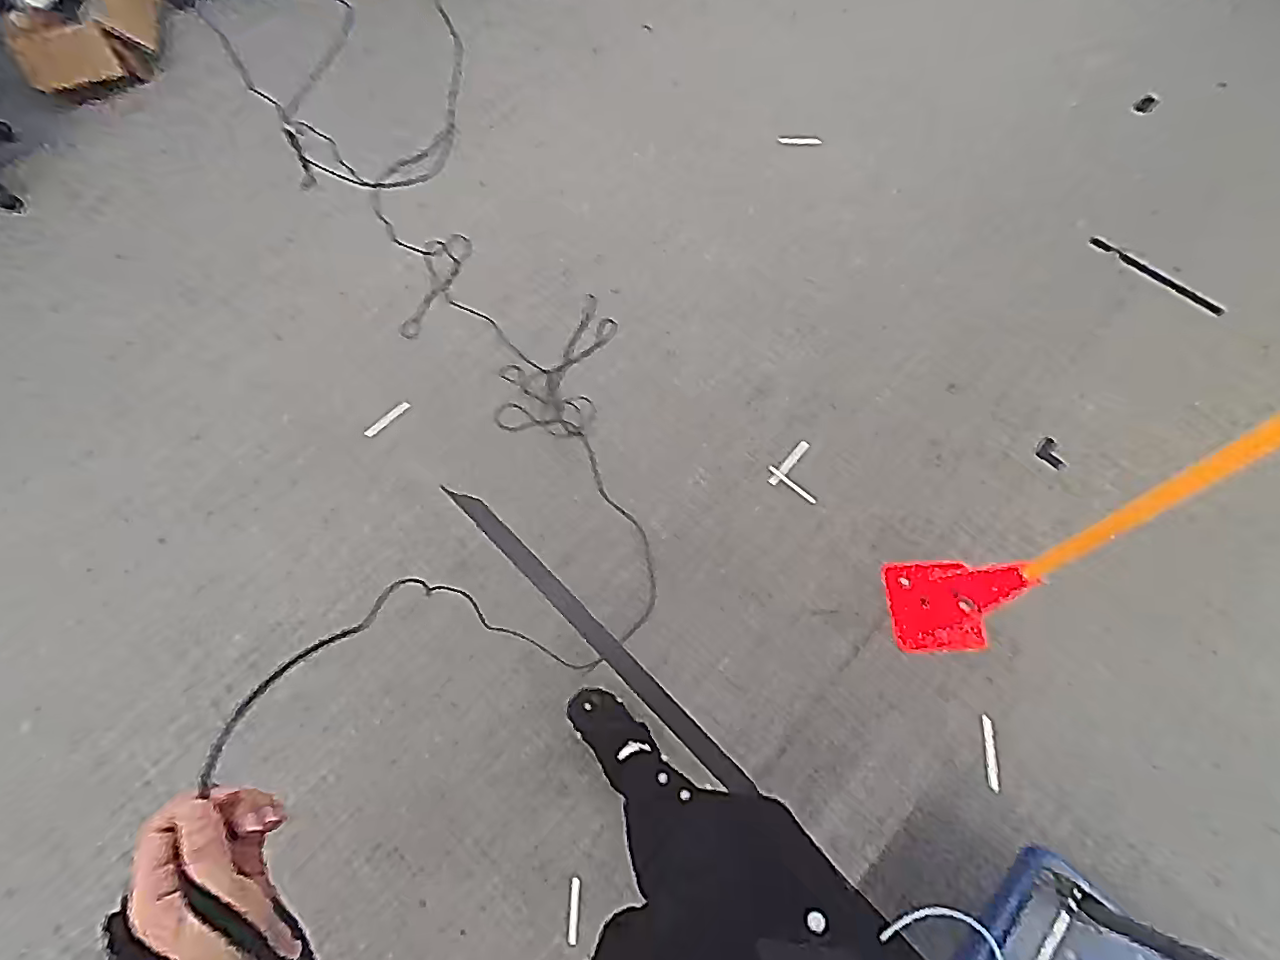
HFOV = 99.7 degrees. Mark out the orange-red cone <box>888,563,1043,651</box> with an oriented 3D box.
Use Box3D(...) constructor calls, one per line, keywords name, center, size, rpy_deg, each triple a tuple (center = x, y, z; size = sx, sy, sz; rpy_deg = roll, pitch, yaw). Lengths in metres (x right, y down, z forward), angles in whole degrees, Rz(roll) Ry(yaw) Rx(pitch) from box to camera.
Box3D(name="orange-red cone", center=(0.668, 0.225, 1.071), size=(0.198, 0.360, 0.199), rpy_deg=(-2, 69, 2))
